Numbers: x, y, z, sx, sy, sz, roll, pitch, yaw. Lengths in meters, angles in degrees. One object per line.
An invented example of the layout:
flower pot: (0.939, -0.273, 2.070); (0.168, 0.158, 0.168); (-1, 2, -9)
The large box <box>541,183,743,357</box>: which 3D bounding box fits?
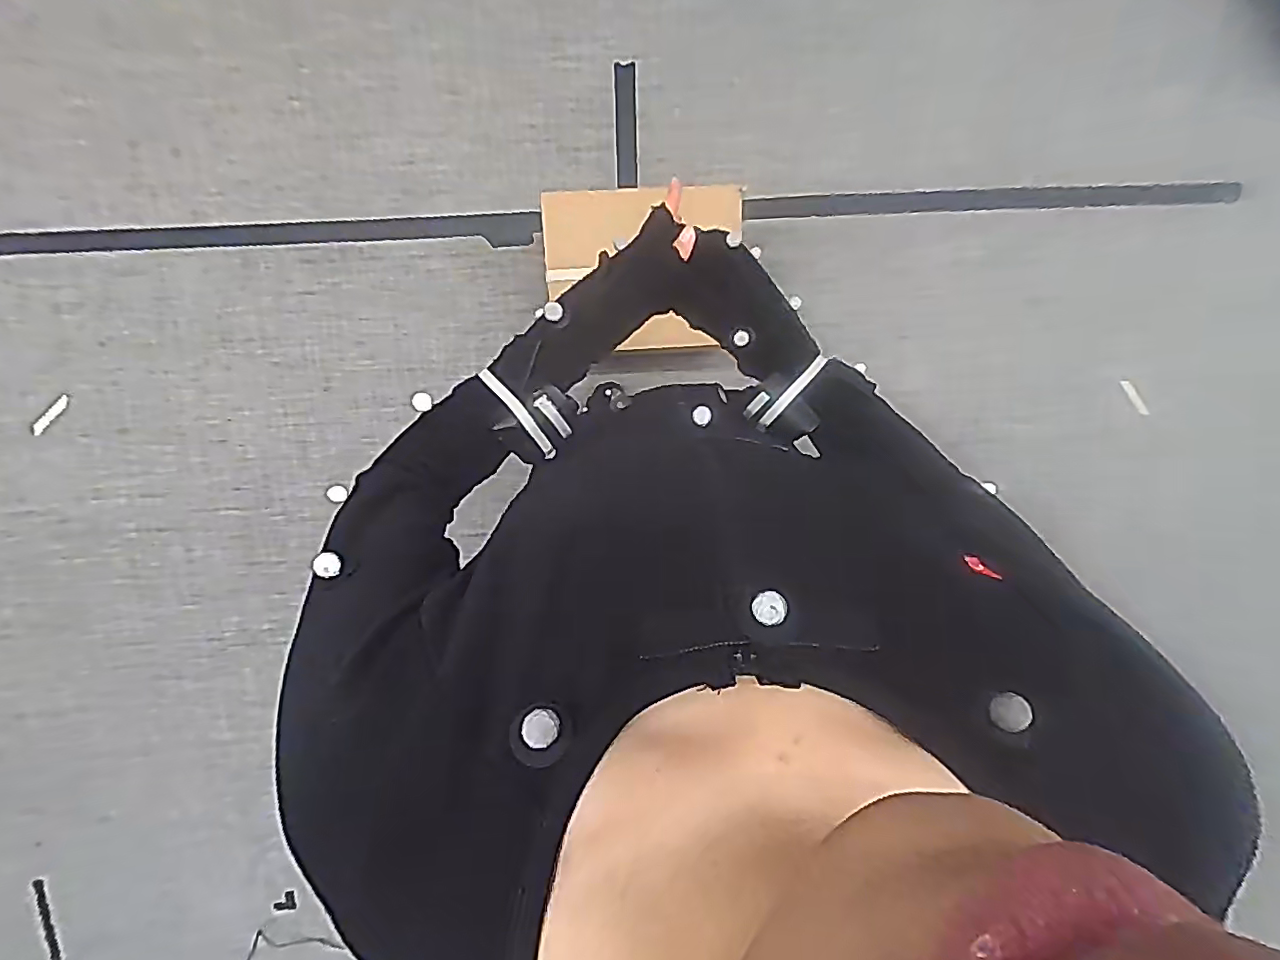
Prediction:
large box: (0.000, -0.462, 1.256); (0.408, 0.320, 0.320); (-4, 102, -3)
